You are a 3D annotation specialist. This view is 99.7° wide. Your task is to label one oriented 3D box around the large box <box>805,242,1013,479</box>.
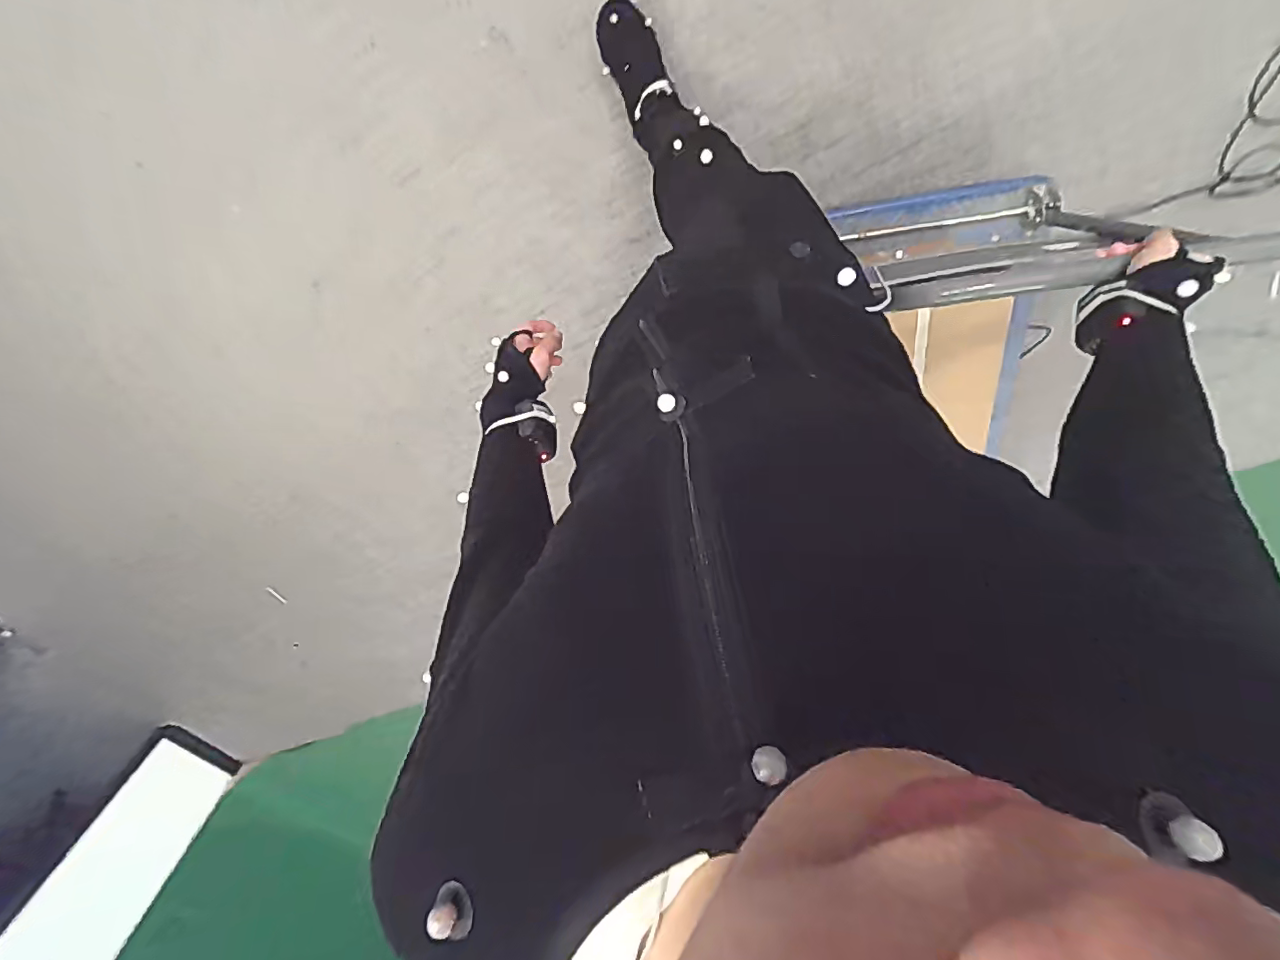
[{"bbox_3d":[0.562,-0.267,1.211,0.320,0.320,0.408,-7,124,9],"label":"large box"}]
